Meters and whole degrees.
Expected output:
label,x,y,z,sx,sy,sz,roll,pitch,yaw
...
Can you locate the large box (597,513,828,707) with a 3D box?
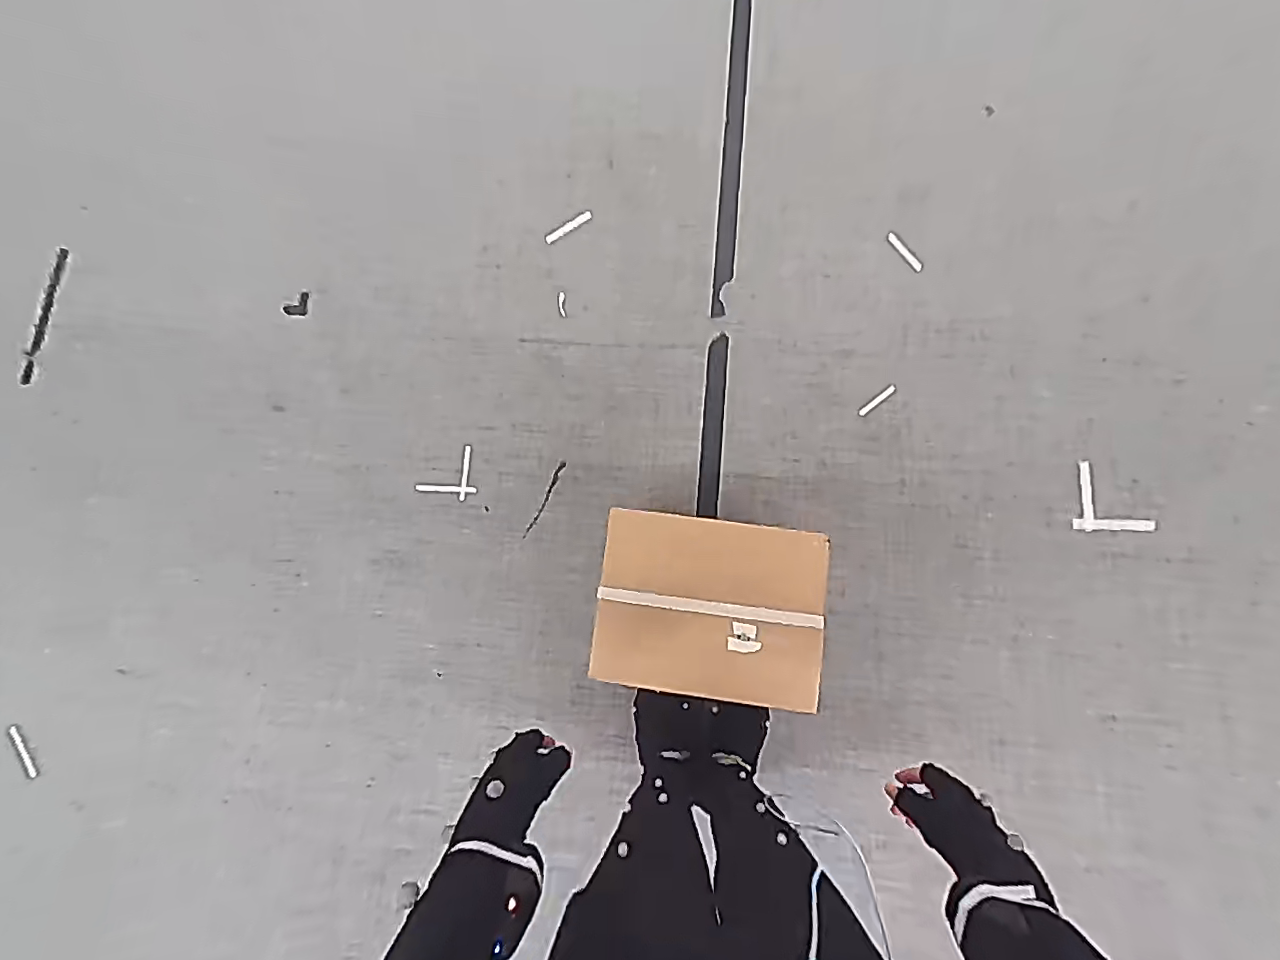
label,x,y,z,sx,sy,sz,roll,pitch,yaw
large box,0.139,0.256,1.133,0.408,0.320,0.320,7,82,4
